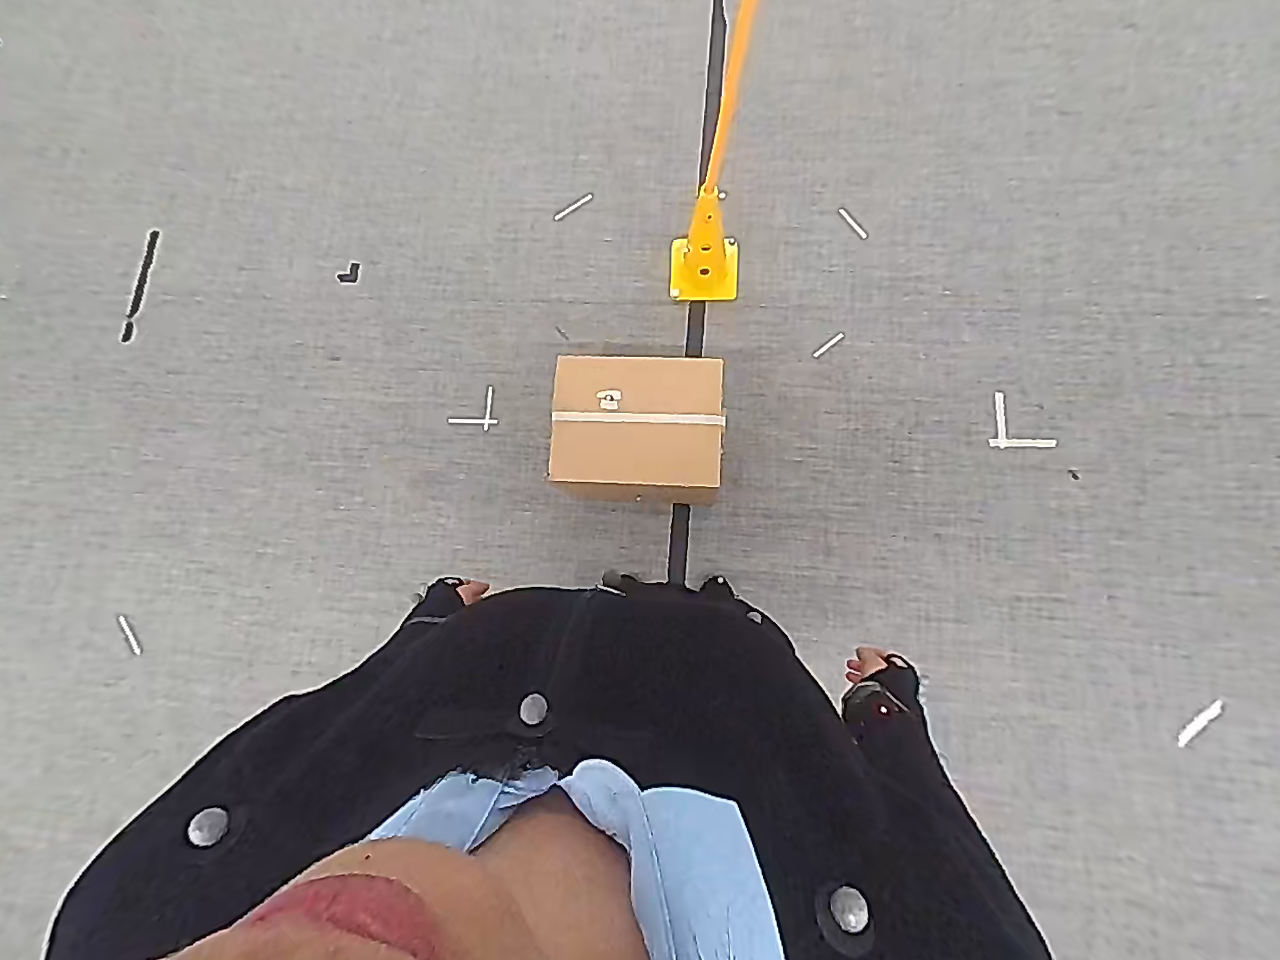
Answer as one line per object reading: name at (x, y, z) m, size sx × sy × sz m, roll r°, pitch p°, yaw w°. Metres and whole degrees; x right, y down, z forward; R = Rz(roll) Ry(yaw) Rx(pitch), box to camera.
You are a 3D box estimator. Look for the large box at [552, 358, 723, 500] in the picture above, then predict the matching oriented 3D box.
large box at (0.011, -0.119, 1.429) m, size 0.408 × 0.320 × 0.320 m, roll 2°, pitch 79°, yaw 7°
